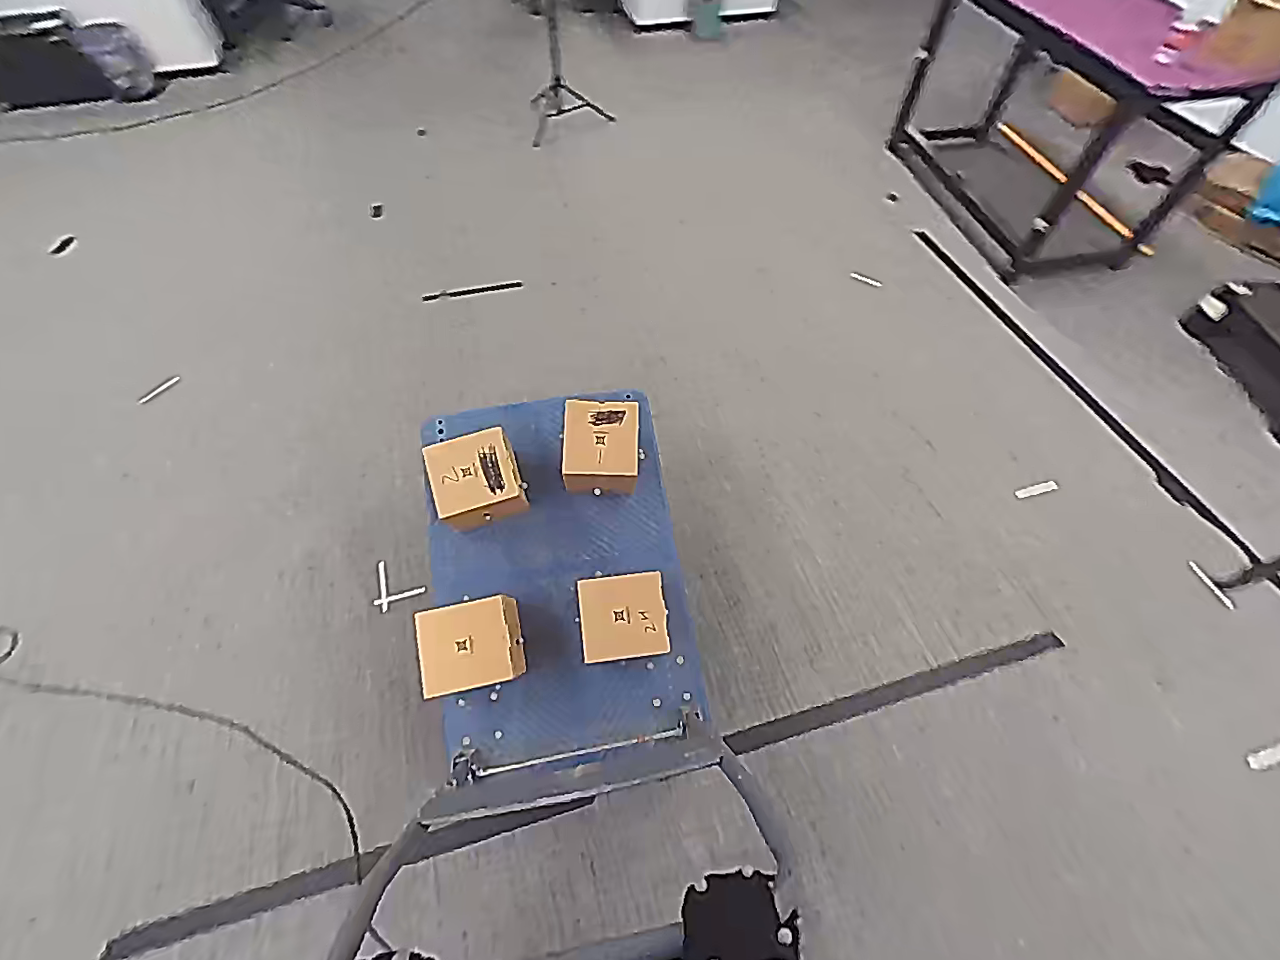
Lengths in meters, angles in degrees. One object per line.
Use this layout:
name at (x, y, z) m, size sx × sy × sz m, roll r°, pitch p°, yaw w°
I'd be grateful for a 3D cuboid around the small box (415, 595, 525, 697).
small box at (-0.349, 0.345, 1.133) m, size 0.179 × 0.176 × 0.168 m, roll -11°, pitch 75°, yaw -9°

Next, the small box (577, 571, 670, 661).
small box at (-0.038, 0.296, 1.169) m, size 0.179 × 0.176 × 0.168 m, roll -6°, pitch 75°, yaw -6°

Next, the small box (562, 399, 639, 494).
small box at (-0.092, -0.074, 1.268) m, size 0.168 × 0.176 × 0.179 m, roll 2°, pitch 75°, yaw -4°
